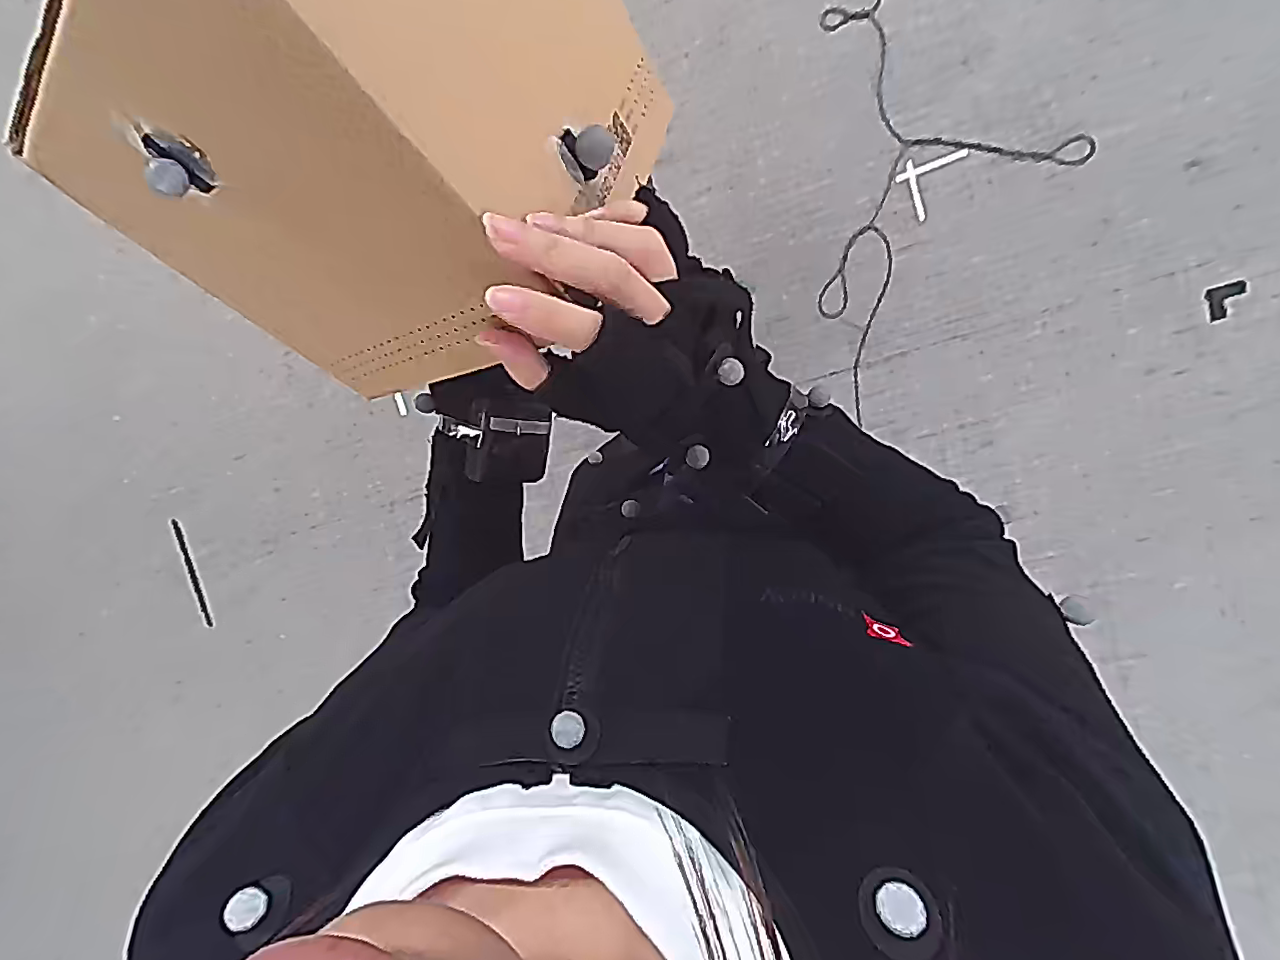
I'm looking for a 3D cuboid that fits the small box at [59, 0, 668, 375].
[{"bbox_3d":[-0.113,-0.172,0.269,0.179,0.176,0.168,-4,59,35],"label":"small box"}]
